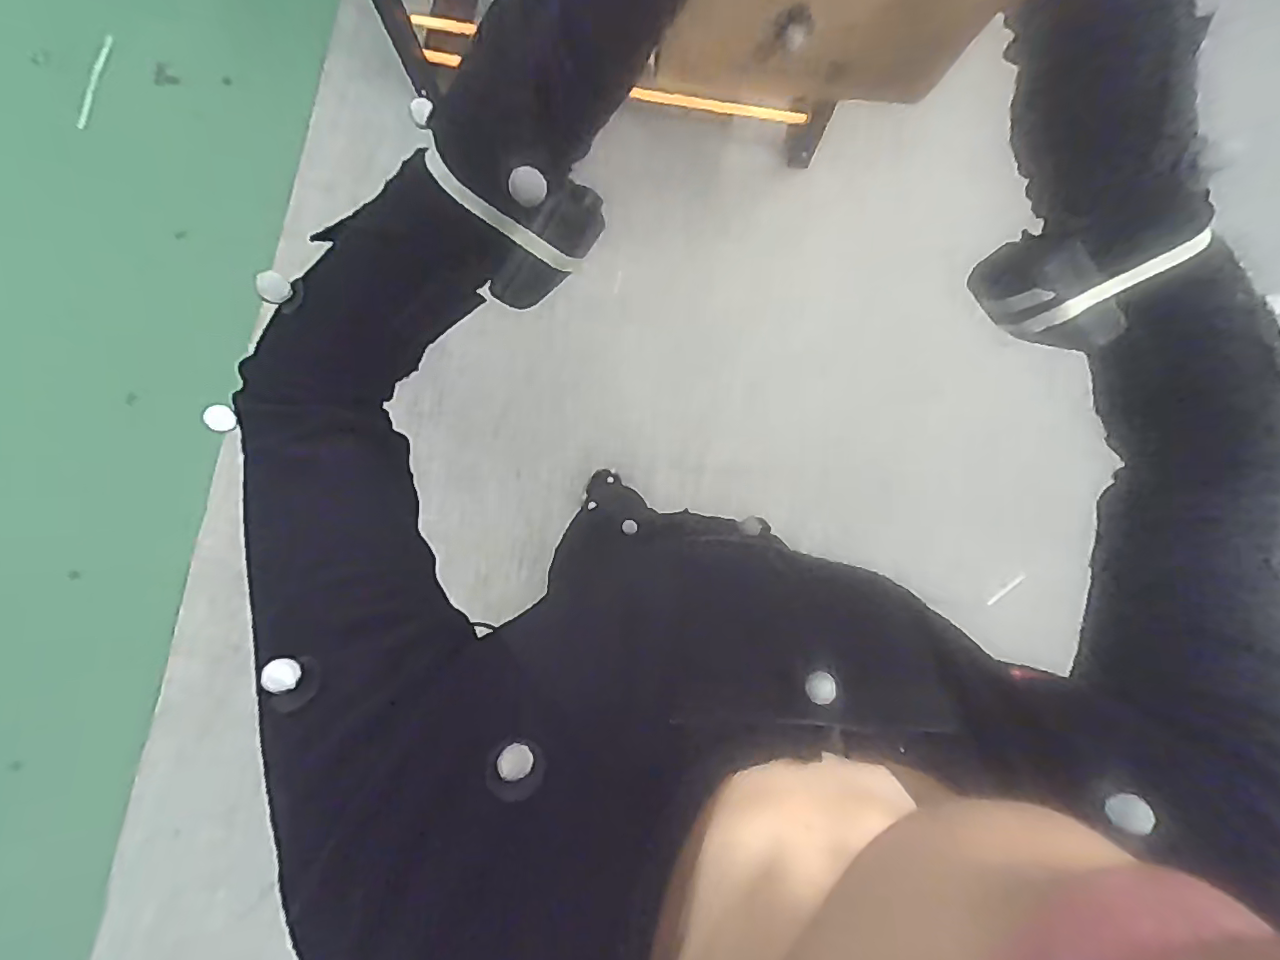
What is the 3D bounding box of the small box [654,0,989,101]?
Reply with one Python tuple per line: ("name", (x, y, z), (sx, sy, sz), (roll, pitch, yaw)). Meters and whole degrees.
("small box", (0.094, -0.320, 0.246), (0.168, 0.176, 0.179), (3, 94, -1))
